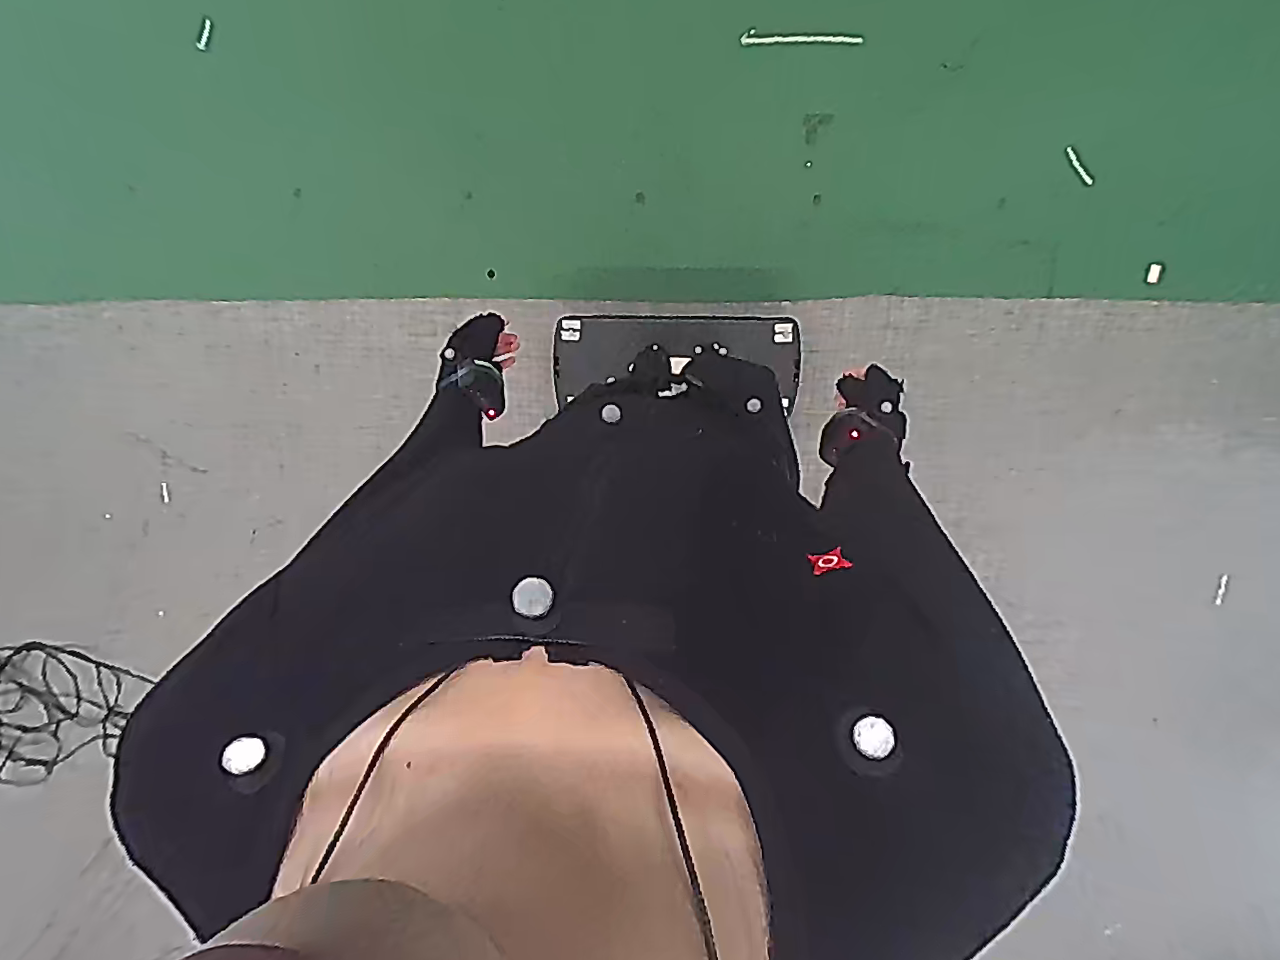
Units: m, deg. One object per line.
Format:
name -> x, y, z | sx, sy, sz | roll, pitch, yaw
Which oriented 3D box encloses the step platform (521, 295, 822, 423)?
step platform -> 0.072, -0.295, 1.321 | 0.684, 0.204, 0.286 | 1, 104, 3
